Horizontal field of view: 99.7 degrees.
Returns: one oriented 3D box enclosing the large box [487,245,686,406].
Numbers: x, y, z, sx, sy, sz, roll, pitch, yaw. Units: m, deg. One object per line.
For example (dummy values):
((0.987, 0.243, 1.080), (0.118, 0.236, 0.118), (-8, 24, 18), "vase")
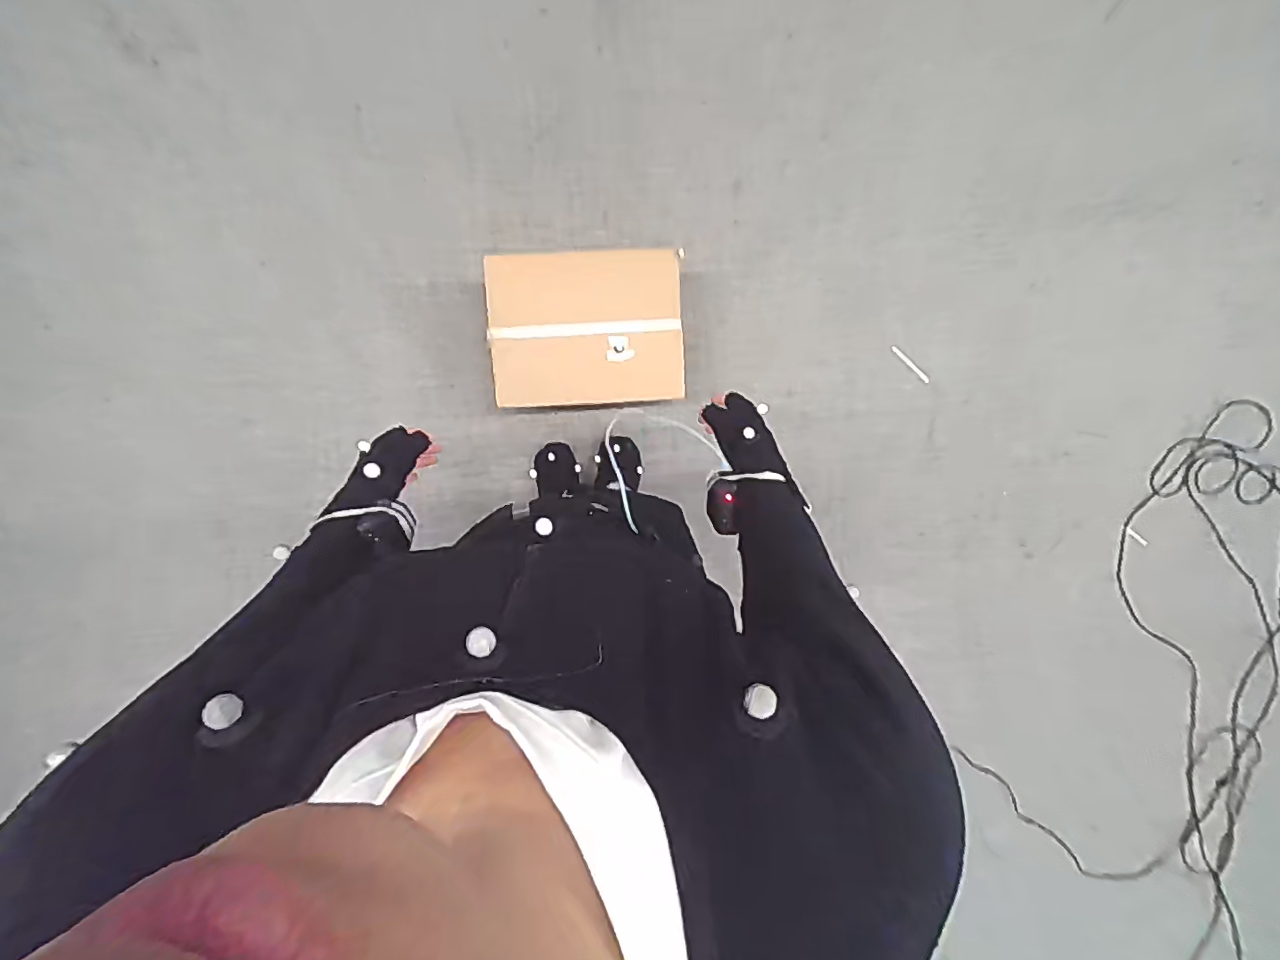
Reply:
((-0.118, -0.344, 1.282), (0.408, 0.320, 0.320), (-4, 99, -4), "large box")
